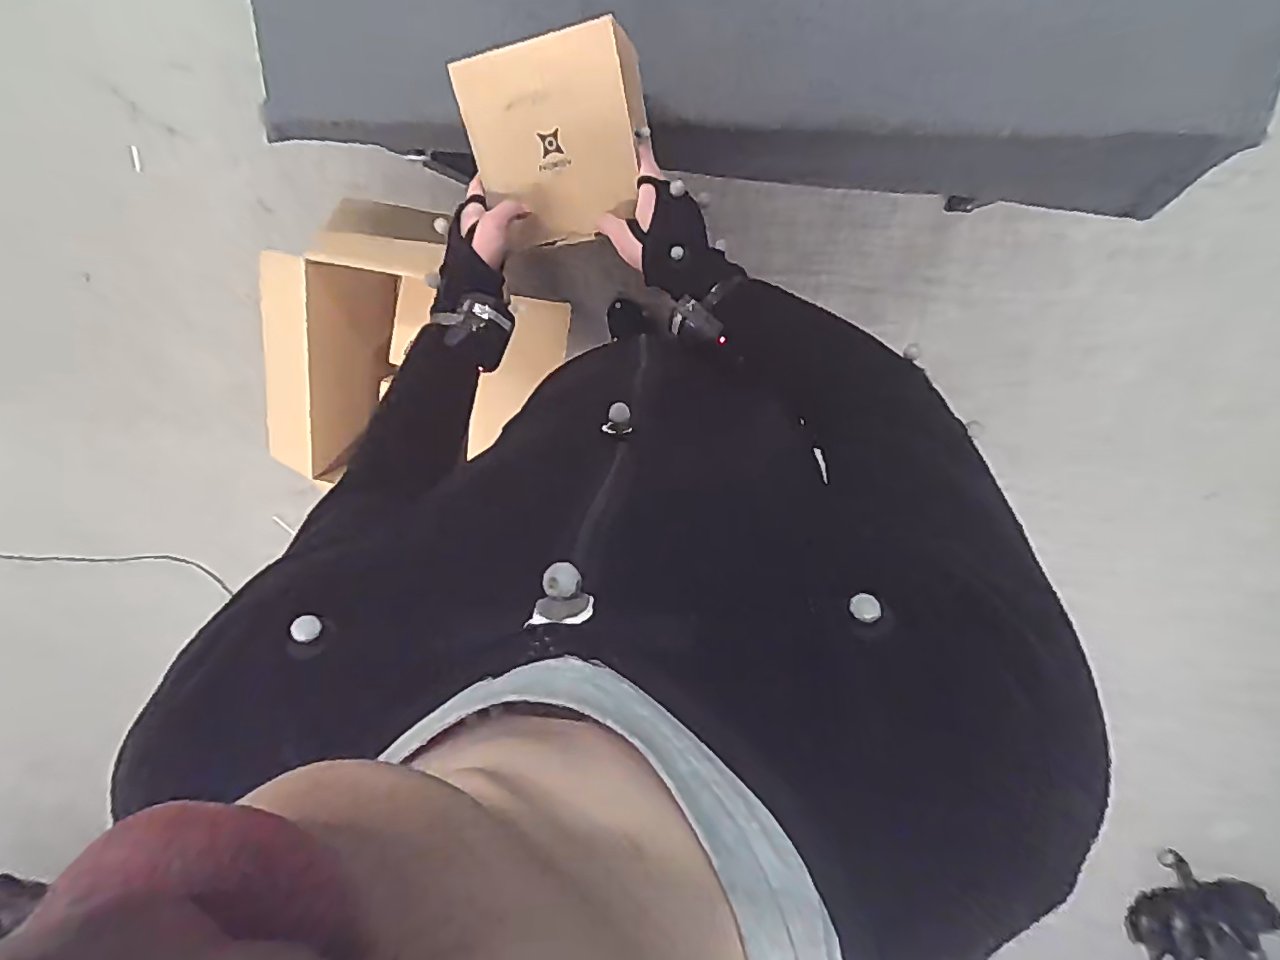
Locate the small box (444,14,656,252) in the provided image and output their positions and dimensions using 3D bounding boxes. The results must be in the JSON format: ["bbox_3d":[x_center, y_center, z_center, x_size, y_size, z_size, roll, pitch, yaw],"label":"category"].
[{"bbox_3d":[-0.082,-0.376,0.607,0.168,0.176,0.179,-8,119,12],"label":"small box"}]
